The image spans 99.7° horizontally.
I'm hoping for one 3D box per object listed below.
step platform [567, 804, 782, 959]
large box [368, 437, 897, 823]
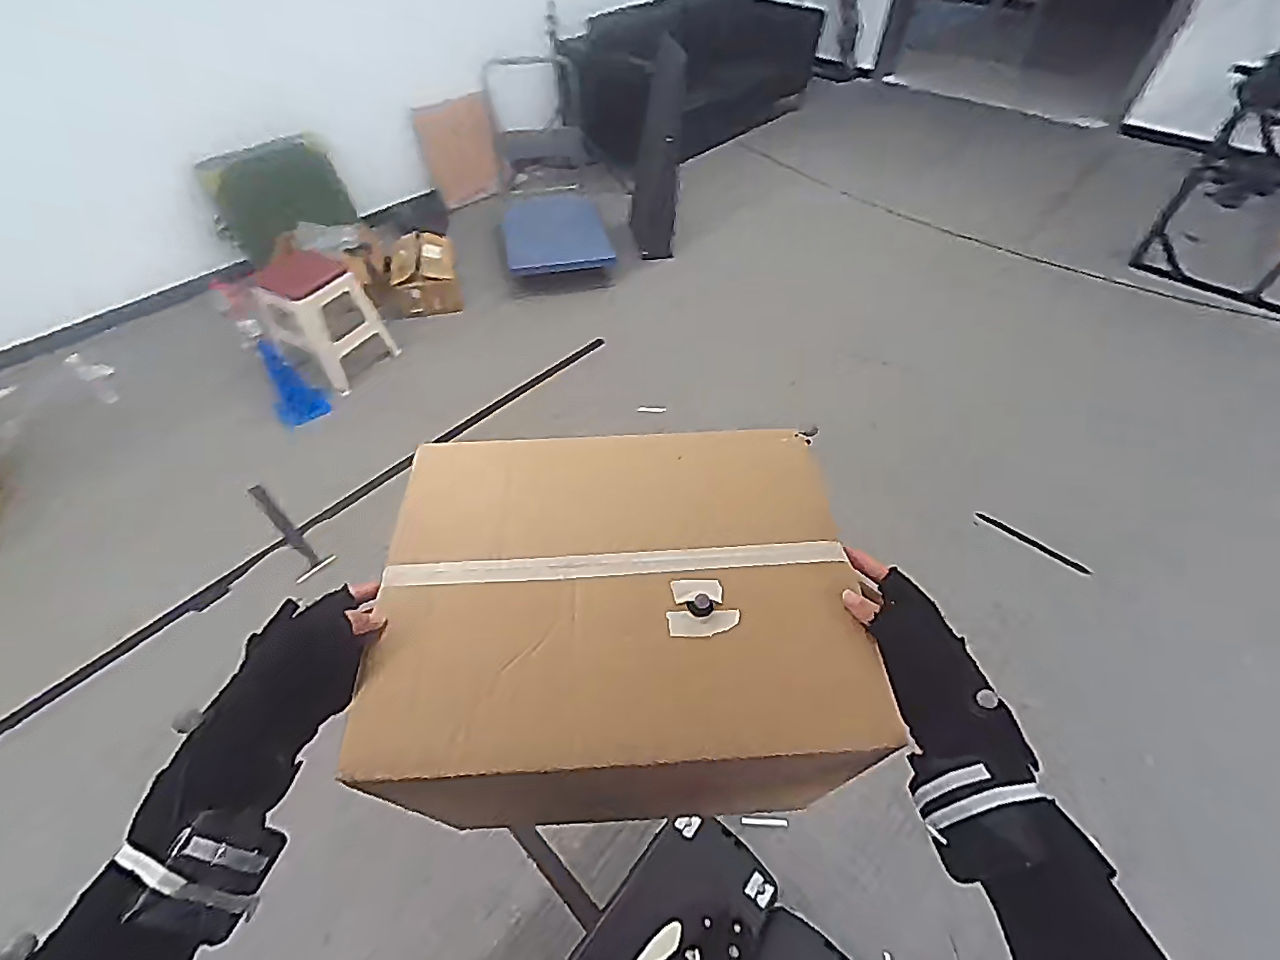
[{"bbox_3d":[0.025,1.042,1.176,0.286,0.204,0.684,33,57,24],"label":"step platform"},{"bbox_3d":[-0.012,0.173,0.606,0.408,0.320,0.320,-2,52,-2],"label":"large box"}]
